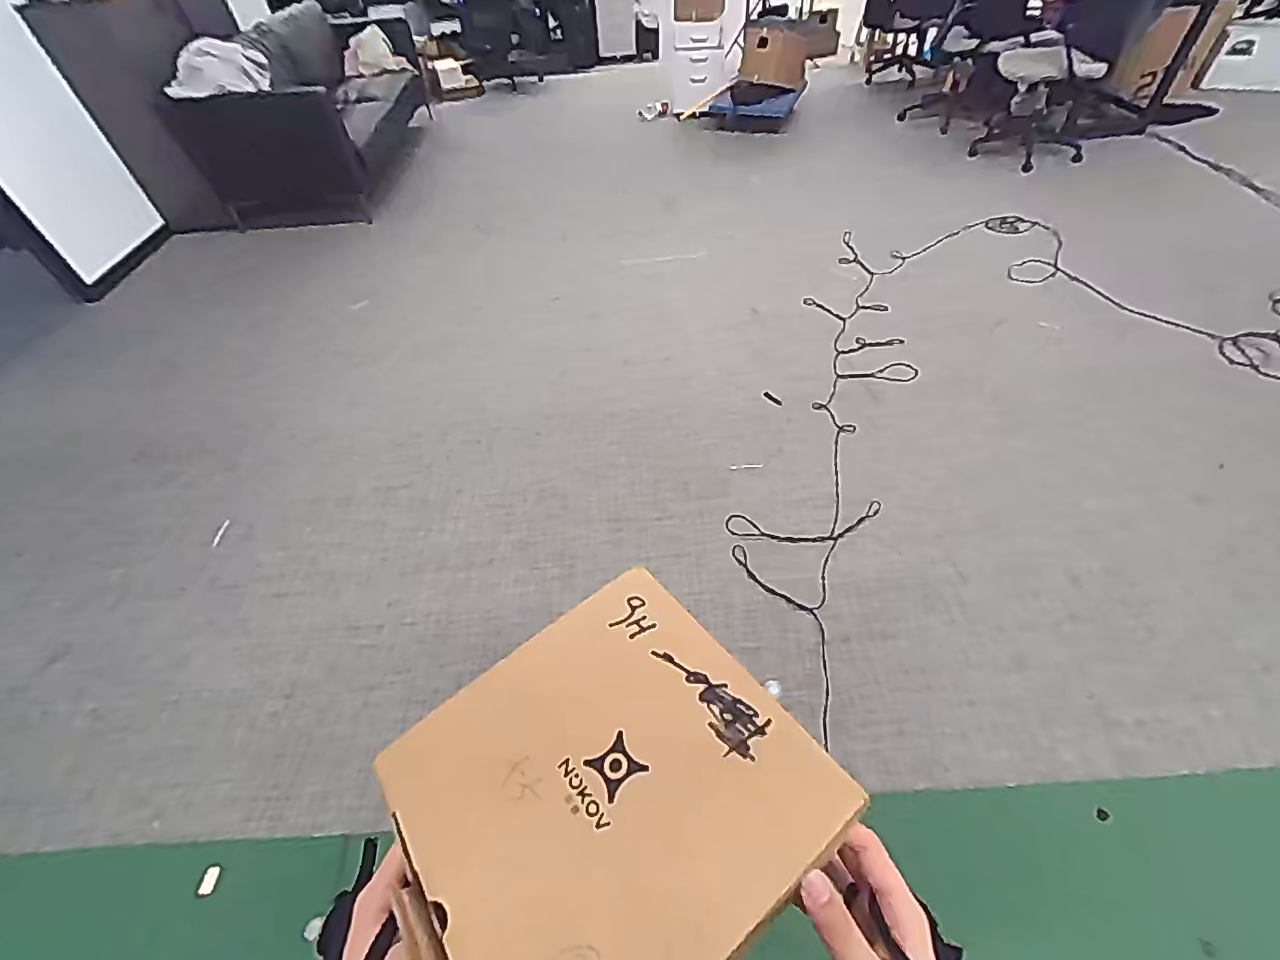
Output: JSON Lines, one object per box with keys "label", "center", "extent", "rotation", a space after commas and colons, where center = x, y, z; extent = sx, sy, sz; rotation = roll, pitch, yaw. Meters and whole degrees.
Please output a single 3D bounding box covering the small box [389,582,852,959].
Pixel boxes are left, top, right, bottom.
{"label": "small box", "center": [-0.005, 0.203, 0.319], "extent": [0.179, 0.176, 0.168], "rotation": [-34, 50, -20]}
